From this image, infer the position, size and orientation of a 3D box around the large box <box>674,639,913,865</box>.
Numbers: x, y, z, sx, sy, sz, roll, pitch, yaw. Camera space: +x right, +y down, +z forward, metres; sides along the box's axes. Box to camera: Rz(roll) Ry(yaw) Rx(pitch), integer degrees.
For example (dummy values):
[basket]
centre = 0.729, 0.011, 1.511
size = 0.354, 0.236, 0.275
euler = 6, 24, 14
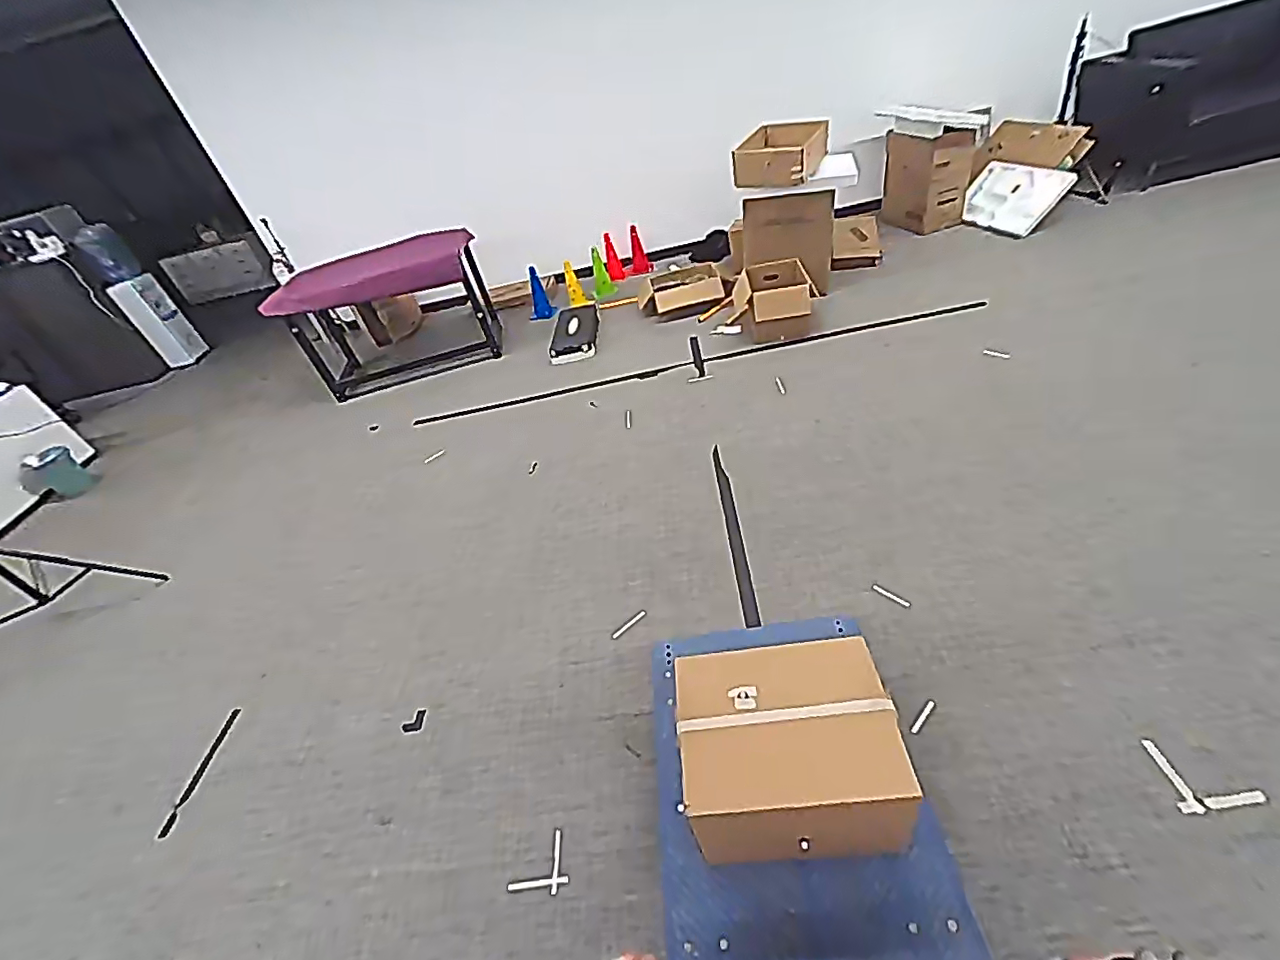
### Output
[large box]
centre = 0.307, 0.584, 1.154
size = 0.408, 0.320, 0.320
euler = -10, 38, 8
